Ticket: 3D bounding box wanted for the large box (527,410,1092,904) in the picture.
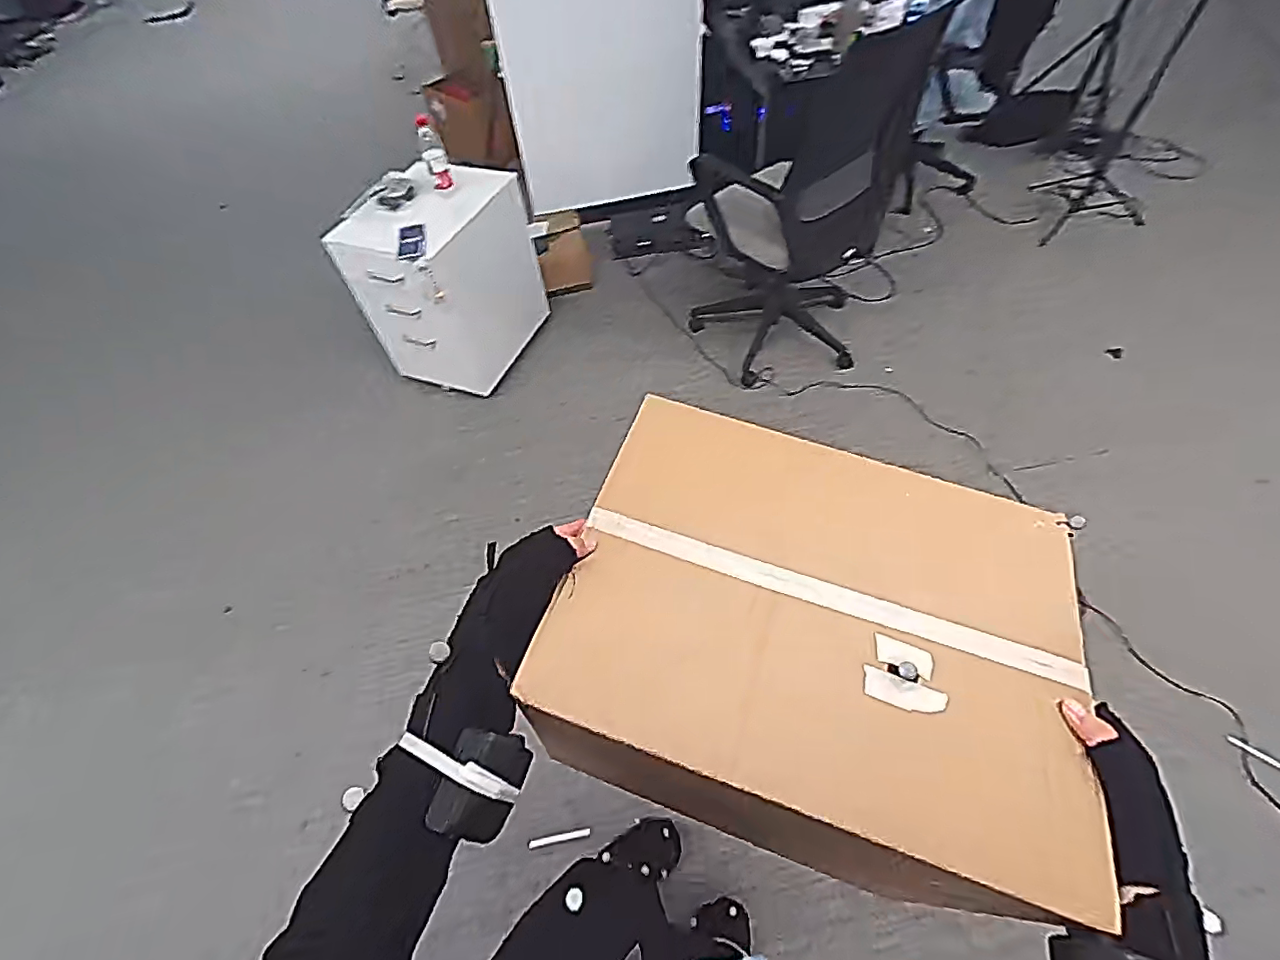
[{"bbox_3d":[0.137,0.182,0.574,0.408,0.320,0.320,17,57,8],"label":"large box"}]
